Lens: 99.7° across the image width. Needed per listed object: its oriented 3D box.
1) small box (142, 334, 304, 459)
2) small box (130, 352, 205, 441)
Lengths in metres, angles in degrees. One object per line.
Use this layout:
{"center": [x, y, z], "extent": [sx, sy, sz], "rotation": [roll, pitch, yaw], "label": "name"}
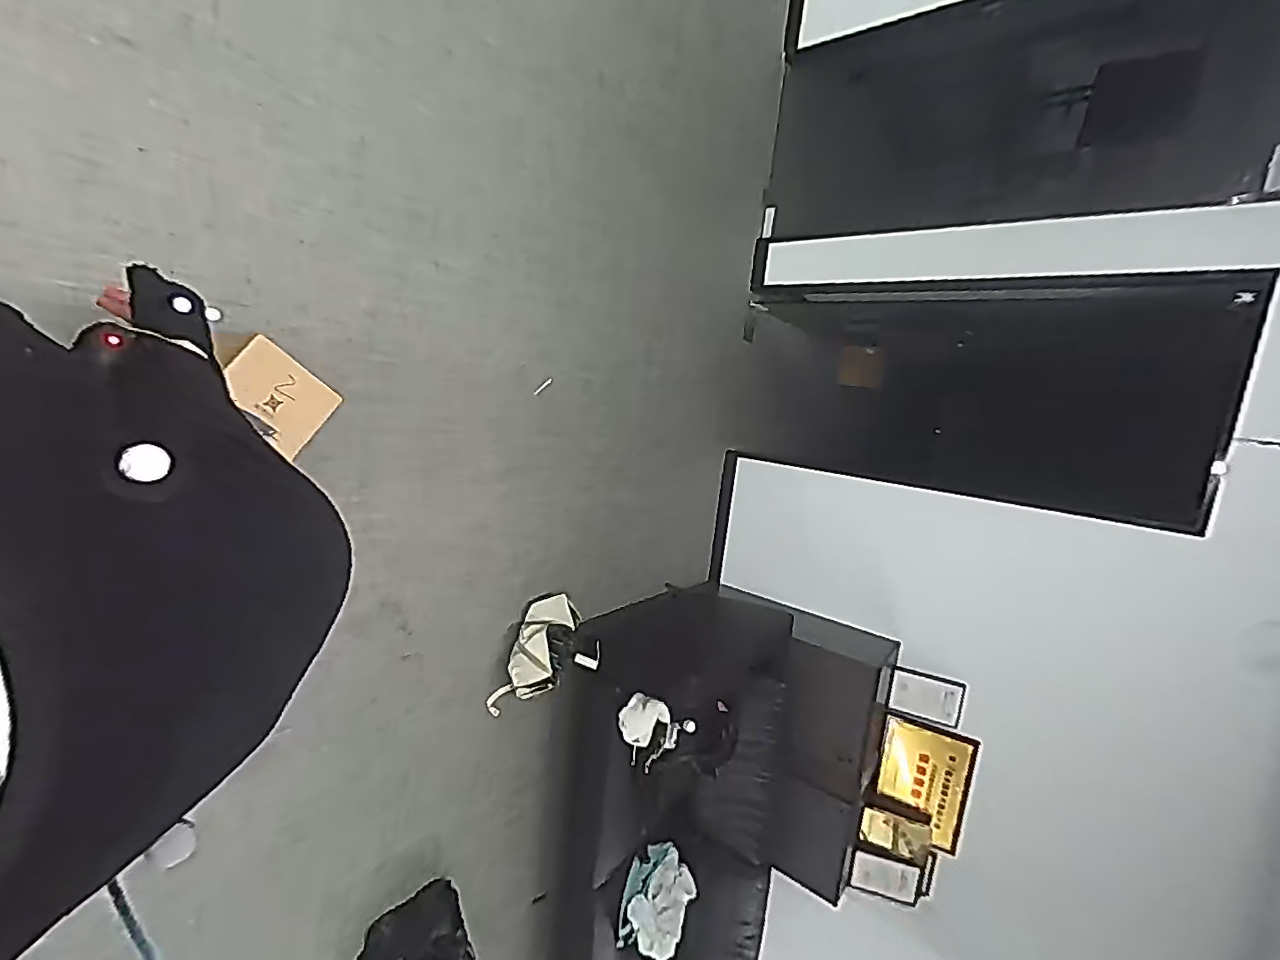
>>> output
{"center": [-0.805, -0.165, 1.044], "extent": [0.168, 0.176, 0.179], "rotation": [43, 66, -50], "label": "small box"}
{"center": [-0.928, -0.176, 1.127], "extent": [0.179, 0.176, 0.168], "rotation": [-13, 111, -52], "label": "small box"}
